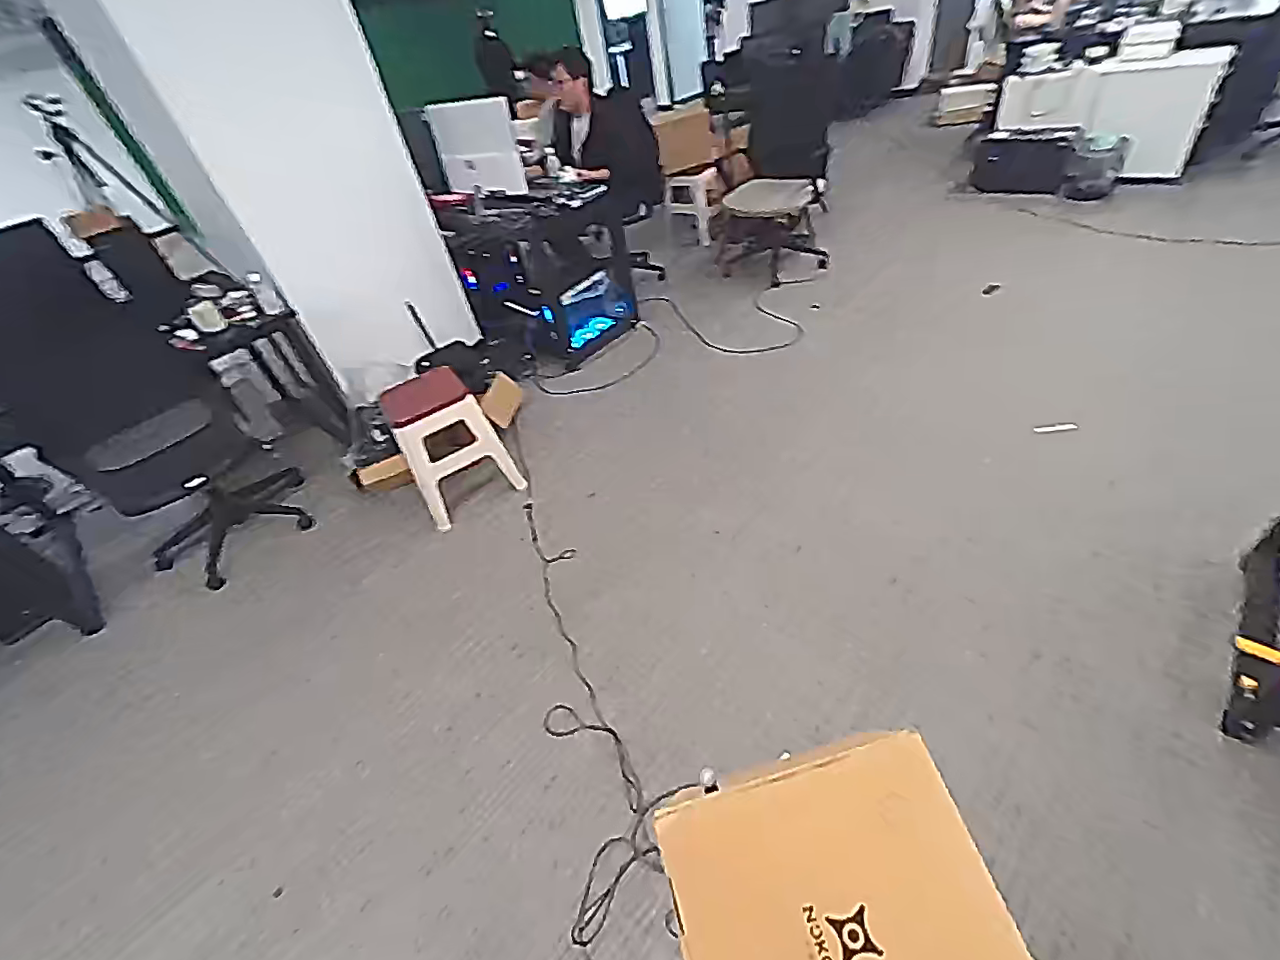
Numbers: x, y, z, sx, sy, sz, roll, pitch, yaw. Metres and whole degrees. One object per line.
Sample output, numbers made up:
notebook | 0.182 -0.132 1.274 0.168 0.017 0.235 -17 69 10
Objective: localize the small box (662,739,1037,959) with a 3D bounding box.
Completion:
small box | 0.128 0.284 0.366 0.179 0.176 0.168 -19 62 3
